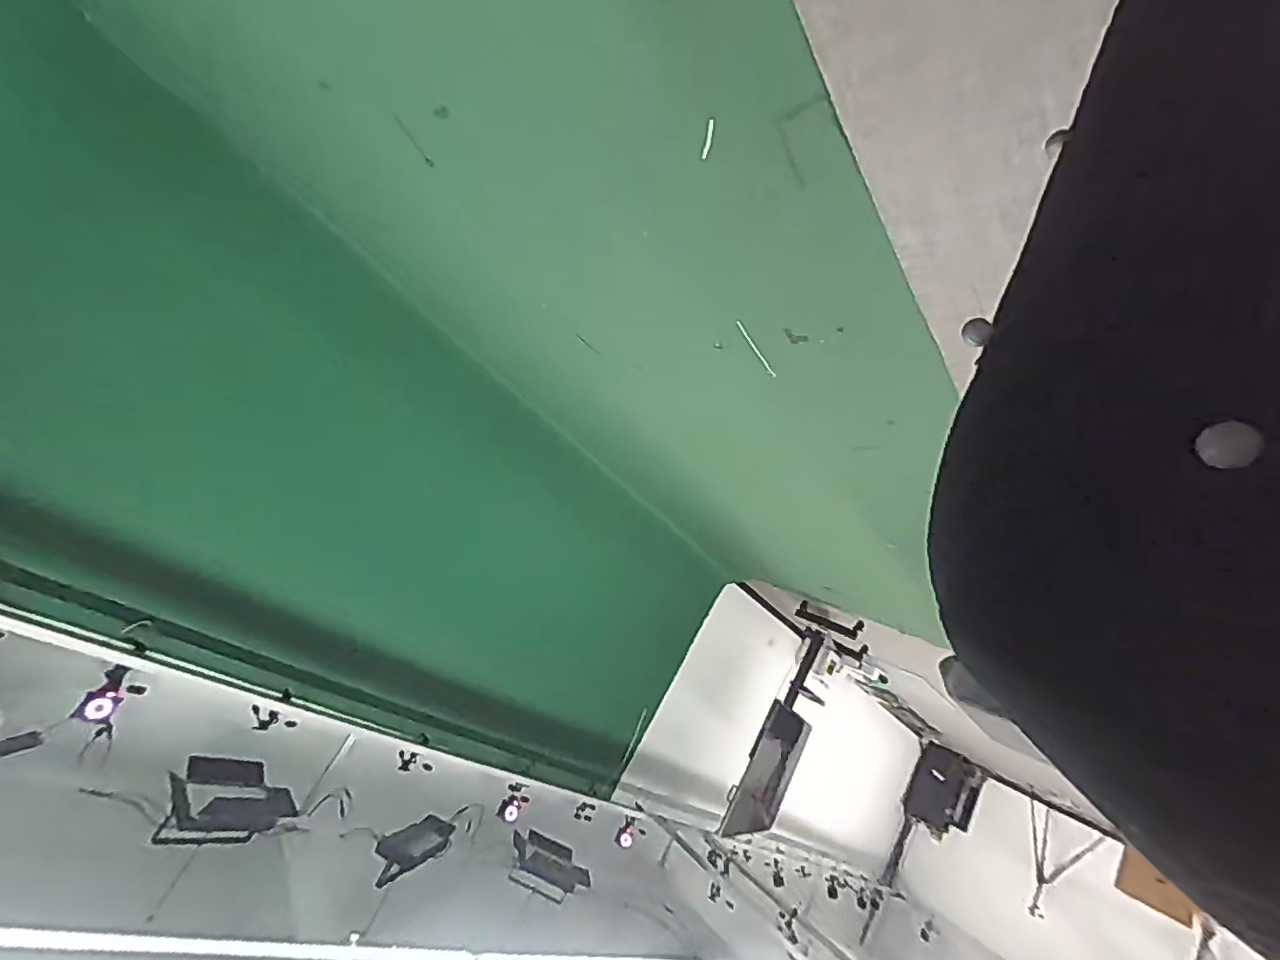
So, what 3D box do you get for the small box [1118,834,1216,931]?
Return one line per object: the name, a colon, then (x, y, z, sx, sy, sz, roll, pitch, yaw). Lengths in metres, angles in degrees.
small box: (1.598, 1.208, 1.638, 0.168, 0.176, 0.179, 41, 164, -33)
